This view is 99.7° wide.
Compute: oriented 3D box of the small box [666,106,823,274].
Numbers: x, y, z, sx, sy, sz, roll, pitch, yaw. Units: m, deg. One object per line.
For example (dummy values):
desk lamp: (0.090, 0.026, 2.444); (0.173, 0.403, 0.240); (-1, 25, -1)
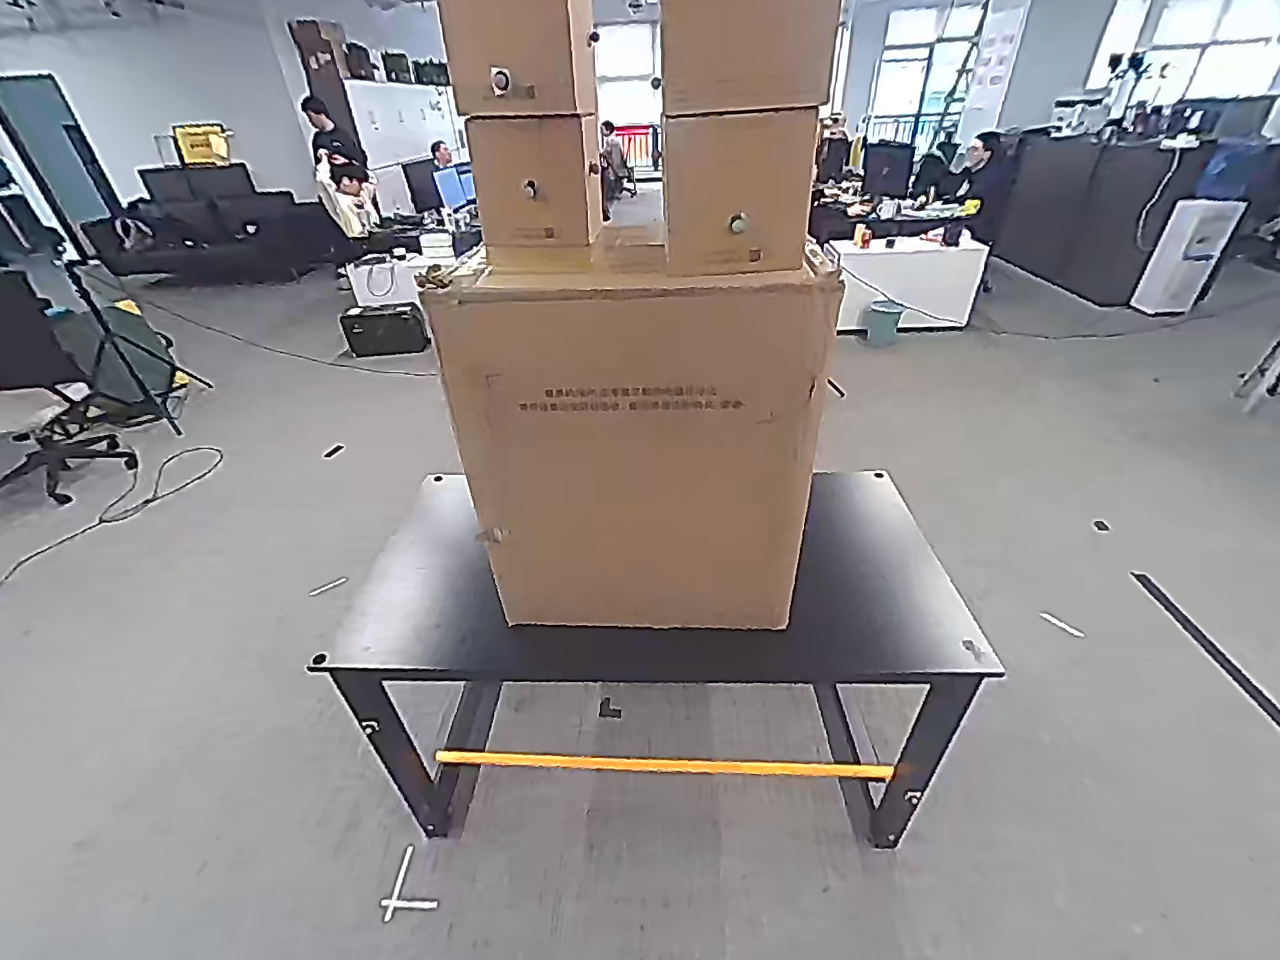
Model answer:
small box: (0.117, -0.369, 0.685); (0.168, 0.176, 0.179); (-3, 36, 3)

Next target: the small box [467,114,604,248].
small box: (-0.148, -0.465, 0.841); (0.168, 0.176, 0.179); (1, 35, 3)

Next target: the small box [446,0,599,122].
small box: (-0.150, -0.591, 0.735); (0.168, 0.176, 0.179); (1, 35, 5)

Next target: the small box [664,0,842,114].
small box: (0.114, -0.496, 0.580); (0.179, 0.176, 0.168); (-1, 36, 4)
